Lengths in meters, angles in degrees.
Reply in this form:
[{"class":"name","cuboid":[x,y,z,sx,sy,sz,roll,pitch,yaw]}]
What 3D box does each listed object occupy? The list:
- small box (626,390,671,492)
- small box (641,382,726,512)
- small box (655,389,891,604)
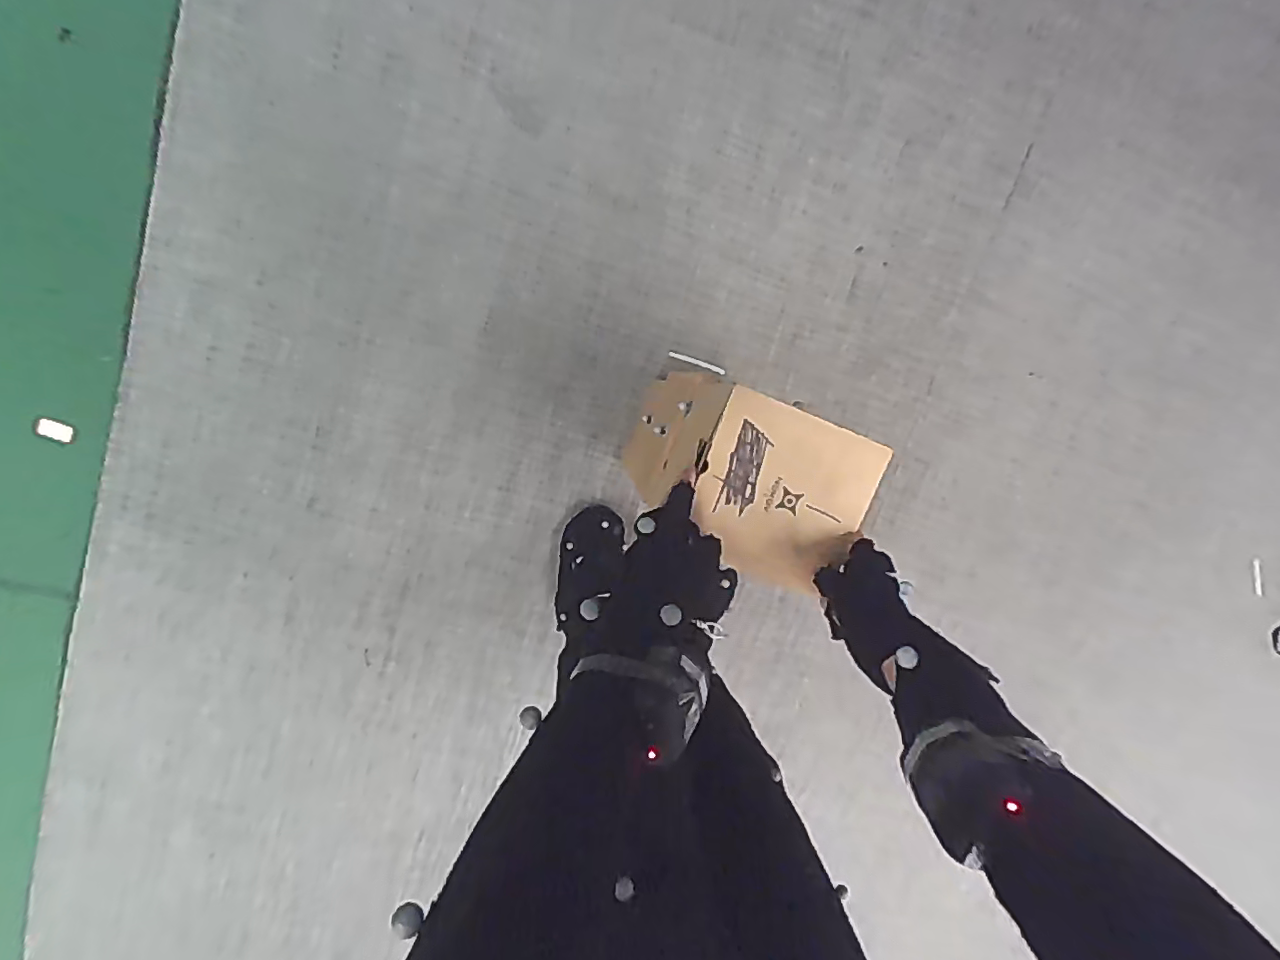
[{"class":"small box","cuboid":[0.089,-0.051,0.925,0.179,0.176,0.168,19,98,-11]},{"class":"small box","cuboid":[0.106,-0.031,0.763,0.168,0.176,0.179,19,99,-9]},{"class":"small box","cuboid":[0.128,0.009,0.601,0.179,0.176,0.168,21,96,-9]}]
